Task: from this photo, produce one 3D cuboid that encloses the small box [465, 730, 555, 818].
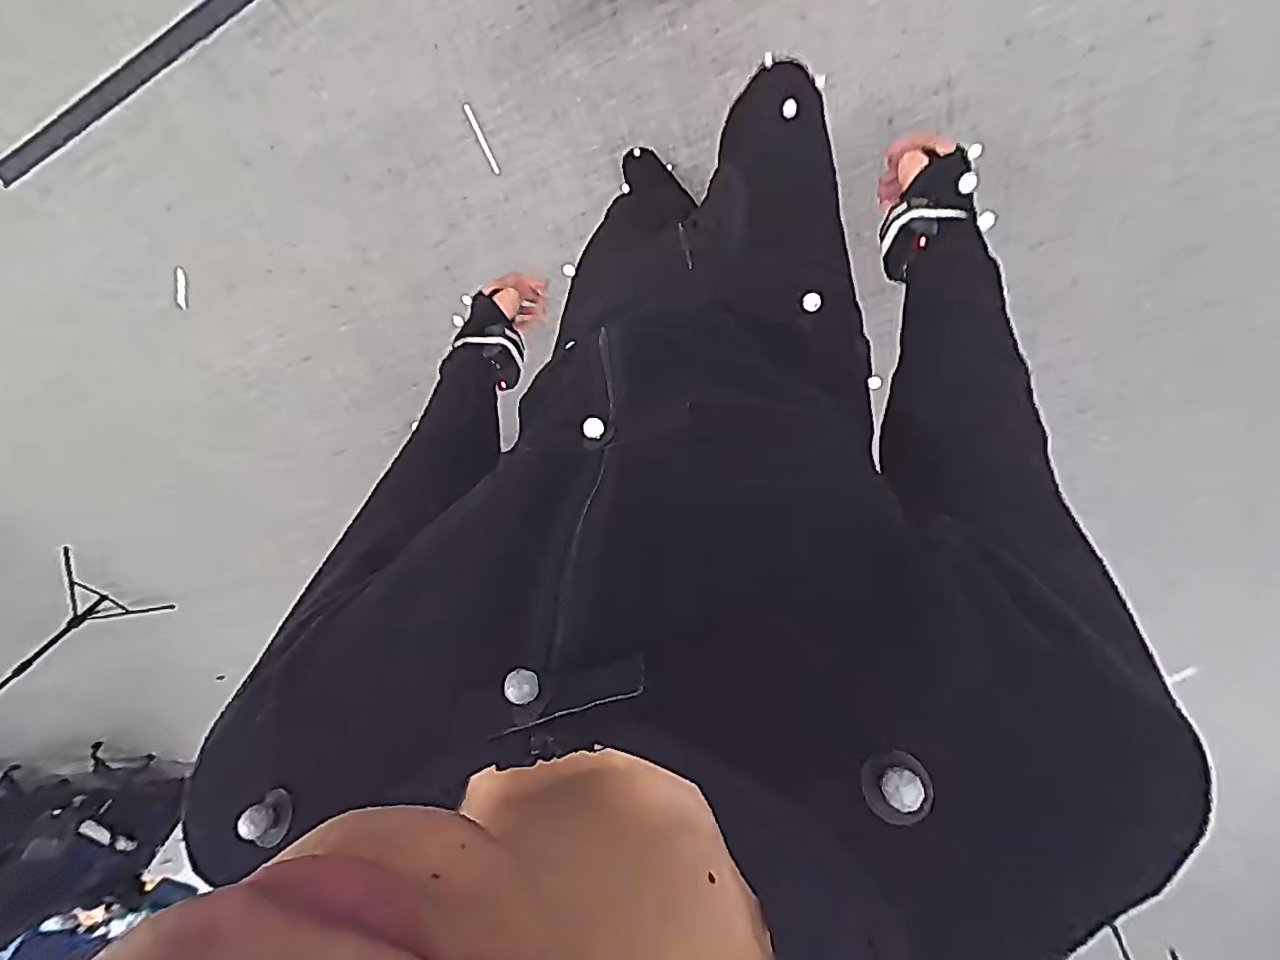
[{"bbox_3d":[-0.363,0.845,1.558,0.179,0.176,0.168,-24,121,25],"label":"small box"}]
